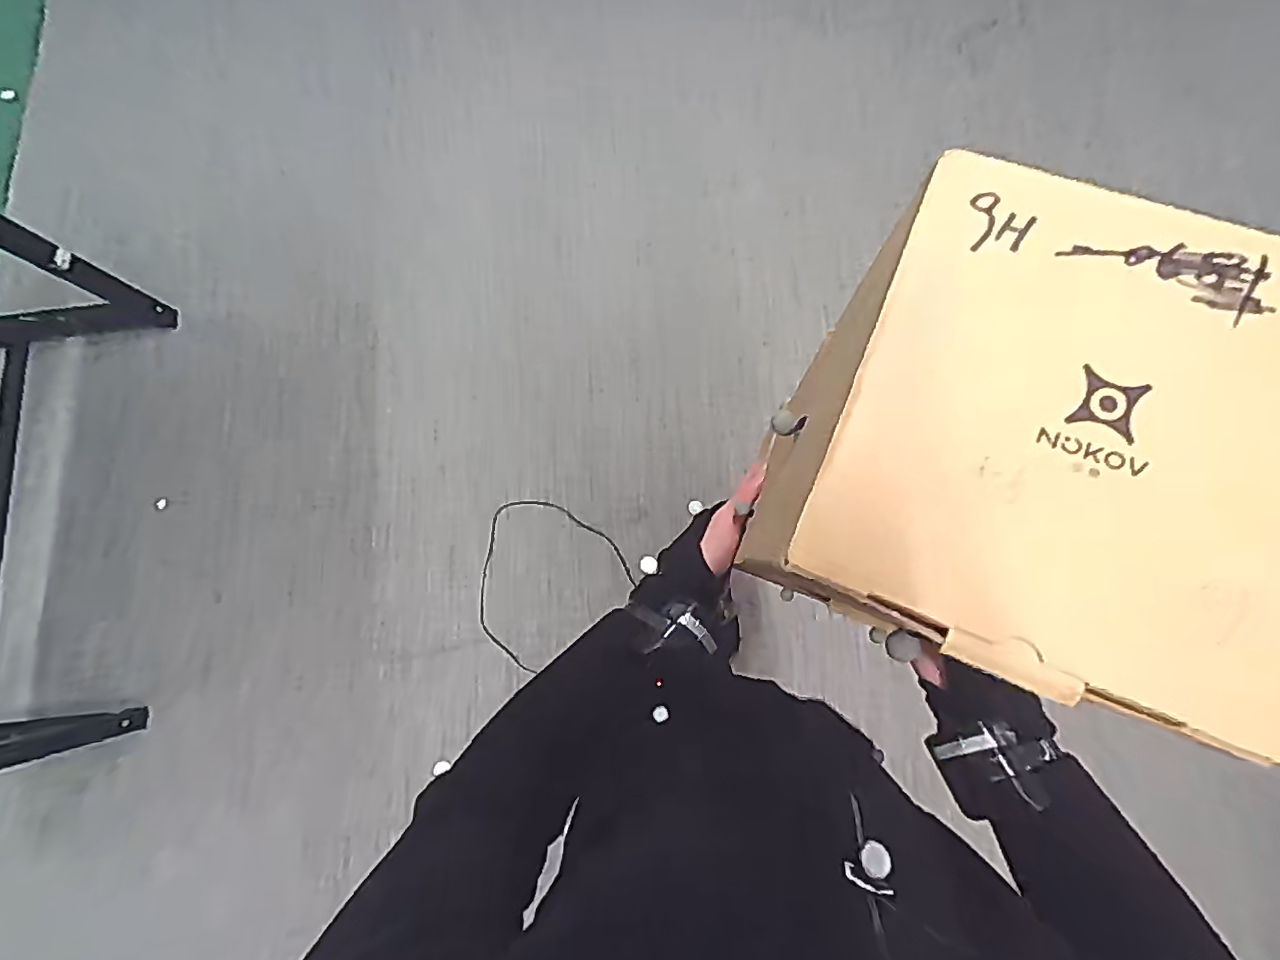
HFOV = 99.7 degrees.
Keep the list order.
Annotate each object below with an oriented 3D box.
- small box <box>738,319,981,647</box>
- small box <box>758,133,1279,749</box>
[{"bbox_3d":[0.182,0.008,0.427,0.168,0.176,0.179,20,84,8],"label":"small box"},{"bbox_3d":[0.166,-0.014,0.266,0.168,0.176,0.179,22,86,9],"label":"small box"}]
